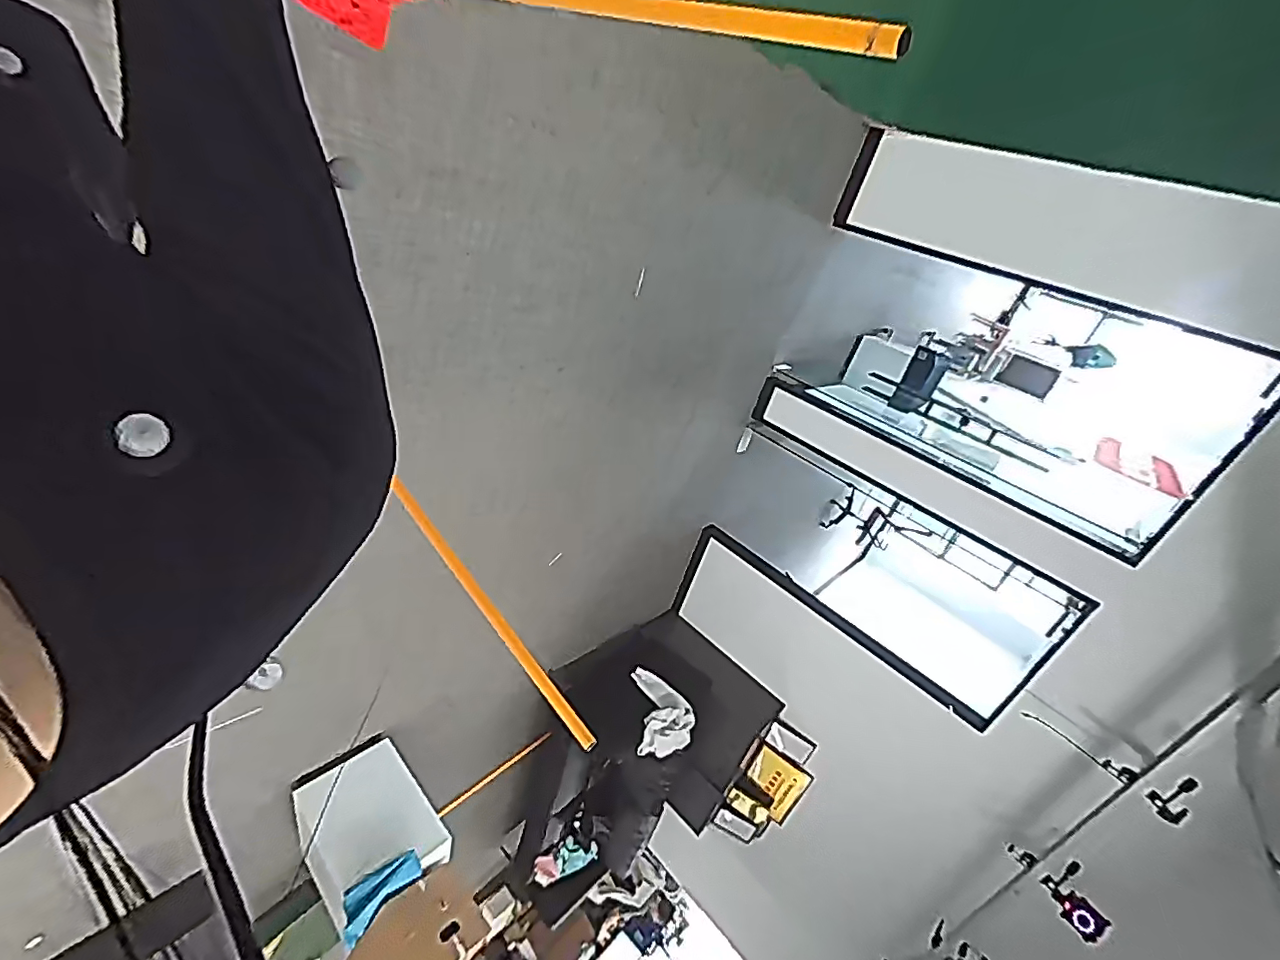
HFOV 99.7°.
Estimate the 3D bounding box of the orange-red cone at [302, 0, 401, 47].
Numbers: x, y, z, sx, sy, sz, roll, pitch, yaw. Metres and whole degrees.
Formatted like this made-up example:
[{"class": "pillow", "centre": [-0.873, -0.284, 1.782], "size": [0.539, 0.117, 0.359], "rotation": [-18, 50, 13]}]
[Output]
[{"class": "orange-red cone", "centre": [-0.474, -0.944, 1.008], "size": [0.198, 0.360, 0.199], "rotation": [0, 121, -53]}]
